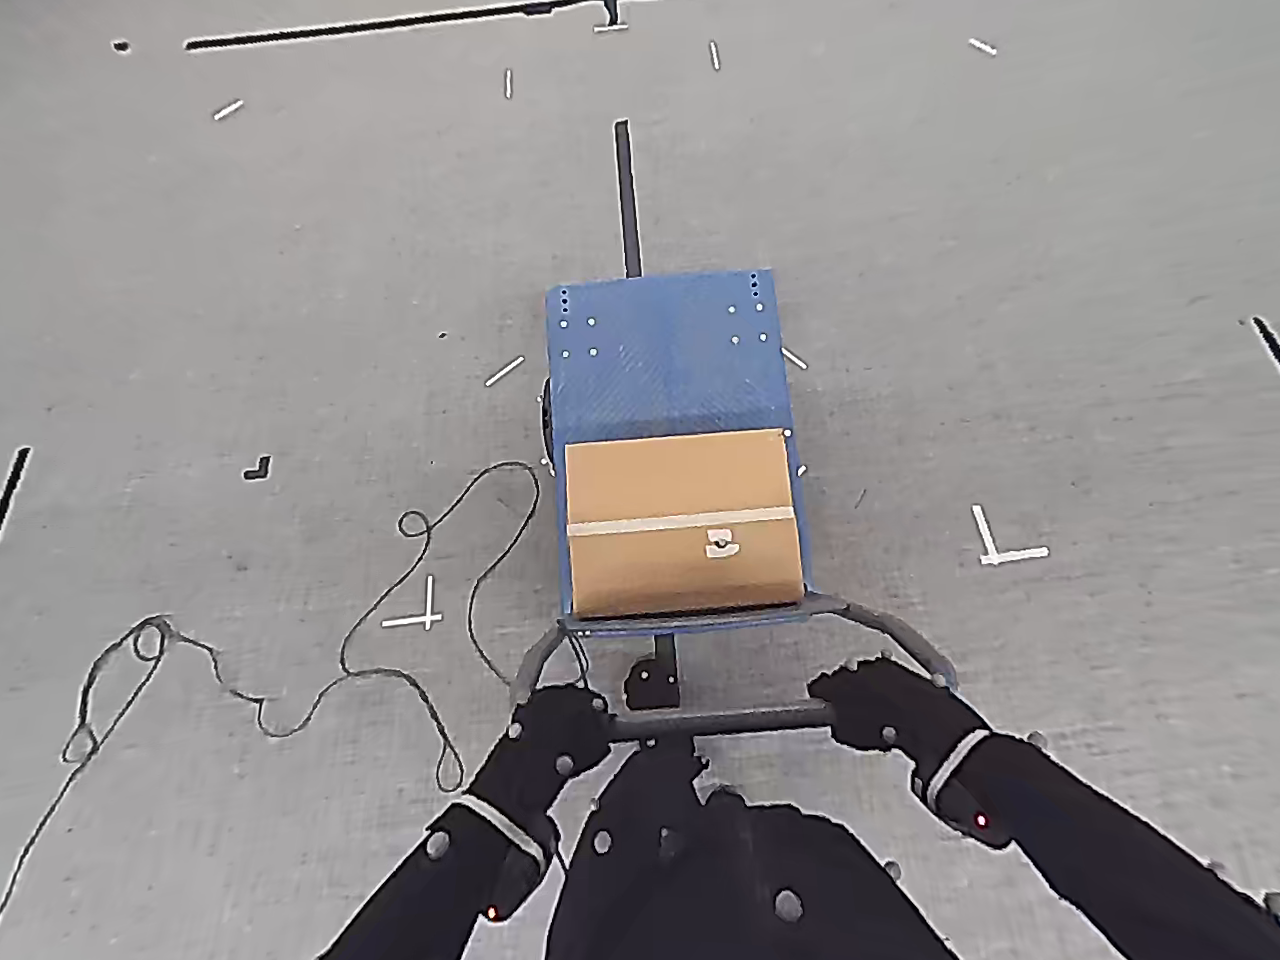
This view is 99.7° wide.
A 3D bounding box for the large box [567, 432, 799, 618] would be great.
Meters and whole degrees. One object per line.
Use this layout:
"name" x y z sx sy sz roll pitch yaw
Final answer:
"large box" 0.073 0.104 1.133 0.408 0.320 0.320 -5 81 -1
